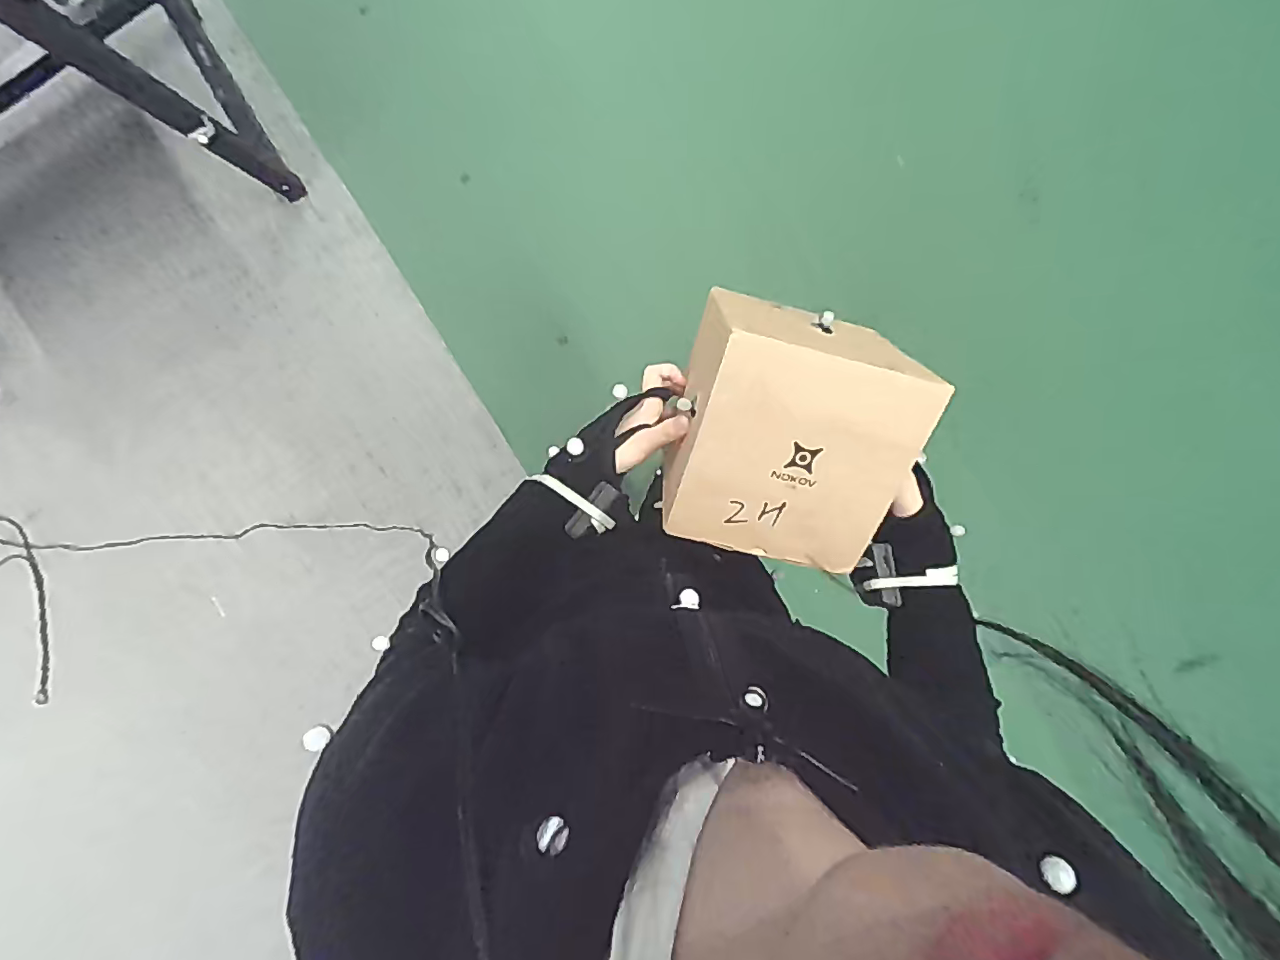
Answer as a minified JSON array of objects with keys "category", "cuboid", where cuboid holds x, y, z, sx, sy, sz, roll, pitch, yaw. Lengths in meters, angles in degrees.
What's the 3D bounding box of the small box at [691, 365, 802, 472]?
[{"category":"small box","cuboid":[0.228,-0.136,1.206,0.179,0.176,0.168,-31,93,5]}]
